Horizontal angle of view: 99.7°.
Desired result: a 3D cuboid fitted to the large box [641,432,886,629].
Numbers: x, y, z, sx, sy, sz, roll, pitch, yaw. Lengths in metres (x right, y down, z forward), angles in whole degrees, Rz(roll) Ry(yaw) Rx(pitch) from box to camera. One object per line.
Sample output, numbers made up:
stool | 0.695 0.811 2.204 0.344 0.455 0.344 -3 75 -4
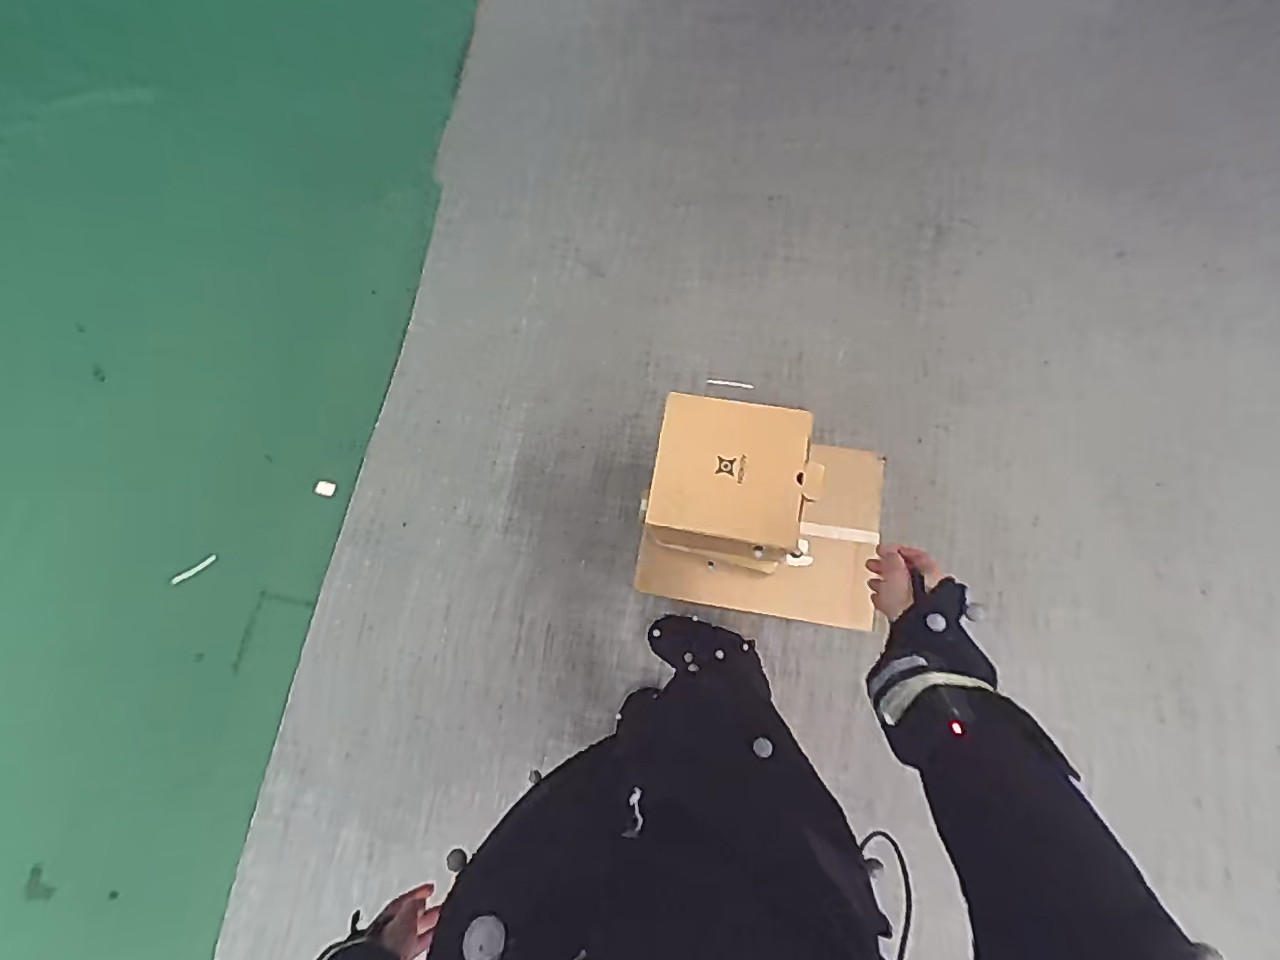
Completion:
large box | 0.226 0.109 1.089 0.408 0.320 0.320 8 79 6

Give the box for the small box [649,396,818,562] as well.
small box | 0.116 0.007 0.703 0.179 0.176 0.168 9 77 7
